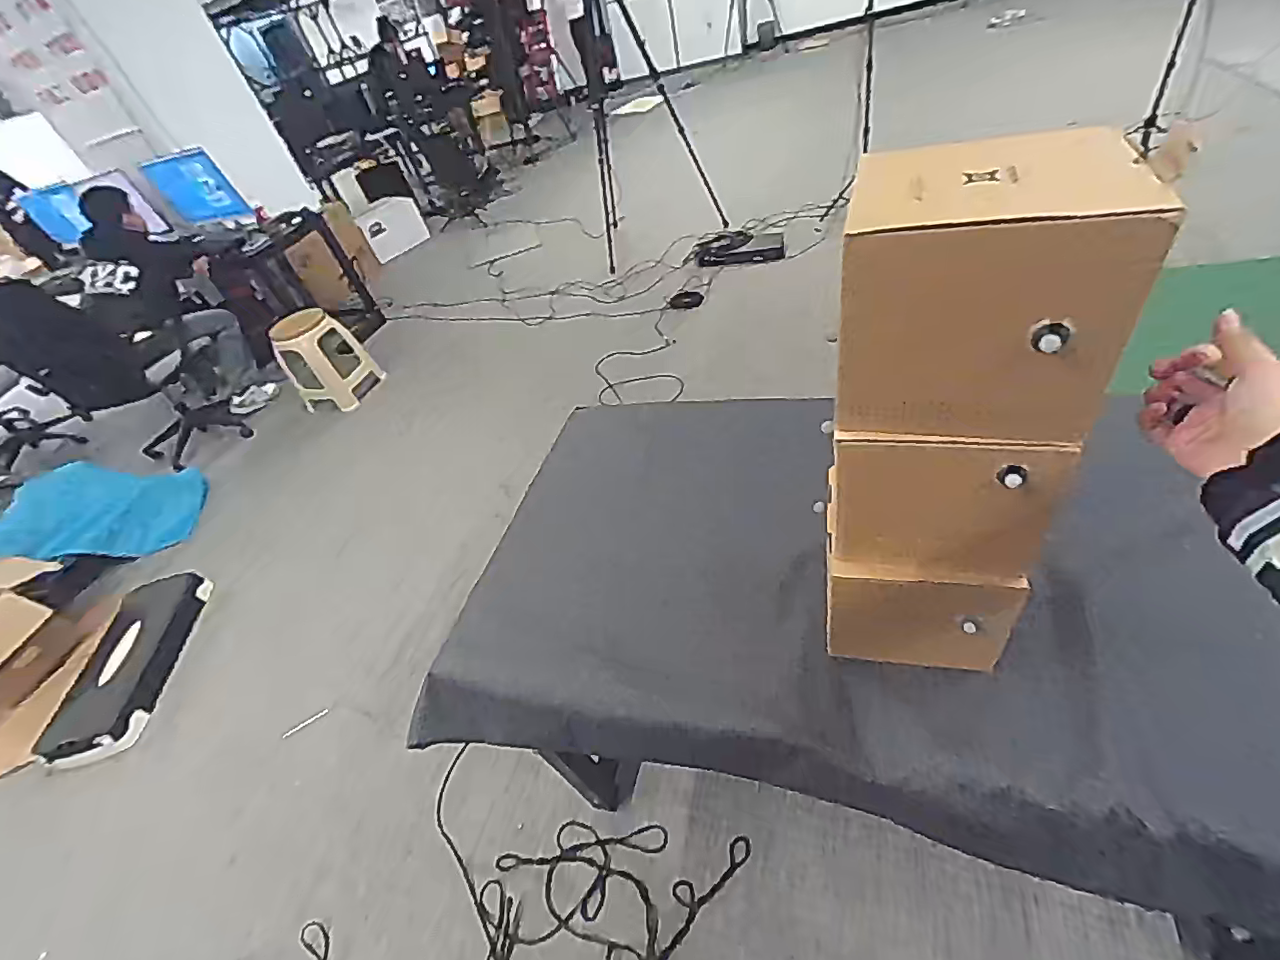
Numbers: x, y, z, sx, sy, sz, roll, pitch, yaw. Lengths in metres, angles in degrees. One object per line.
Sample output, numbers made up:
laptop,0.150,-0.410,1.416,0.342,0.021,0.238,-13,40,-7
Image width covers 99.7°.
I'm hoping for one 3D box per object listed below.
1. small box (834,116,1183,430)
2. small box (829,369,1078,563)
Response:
small box,0.253,-0.153,0.423,0.179,0.176,0.168,5,46,22
small box,0.282,-0.035,0.532,0.179,0.176,0.168,3,46,20
